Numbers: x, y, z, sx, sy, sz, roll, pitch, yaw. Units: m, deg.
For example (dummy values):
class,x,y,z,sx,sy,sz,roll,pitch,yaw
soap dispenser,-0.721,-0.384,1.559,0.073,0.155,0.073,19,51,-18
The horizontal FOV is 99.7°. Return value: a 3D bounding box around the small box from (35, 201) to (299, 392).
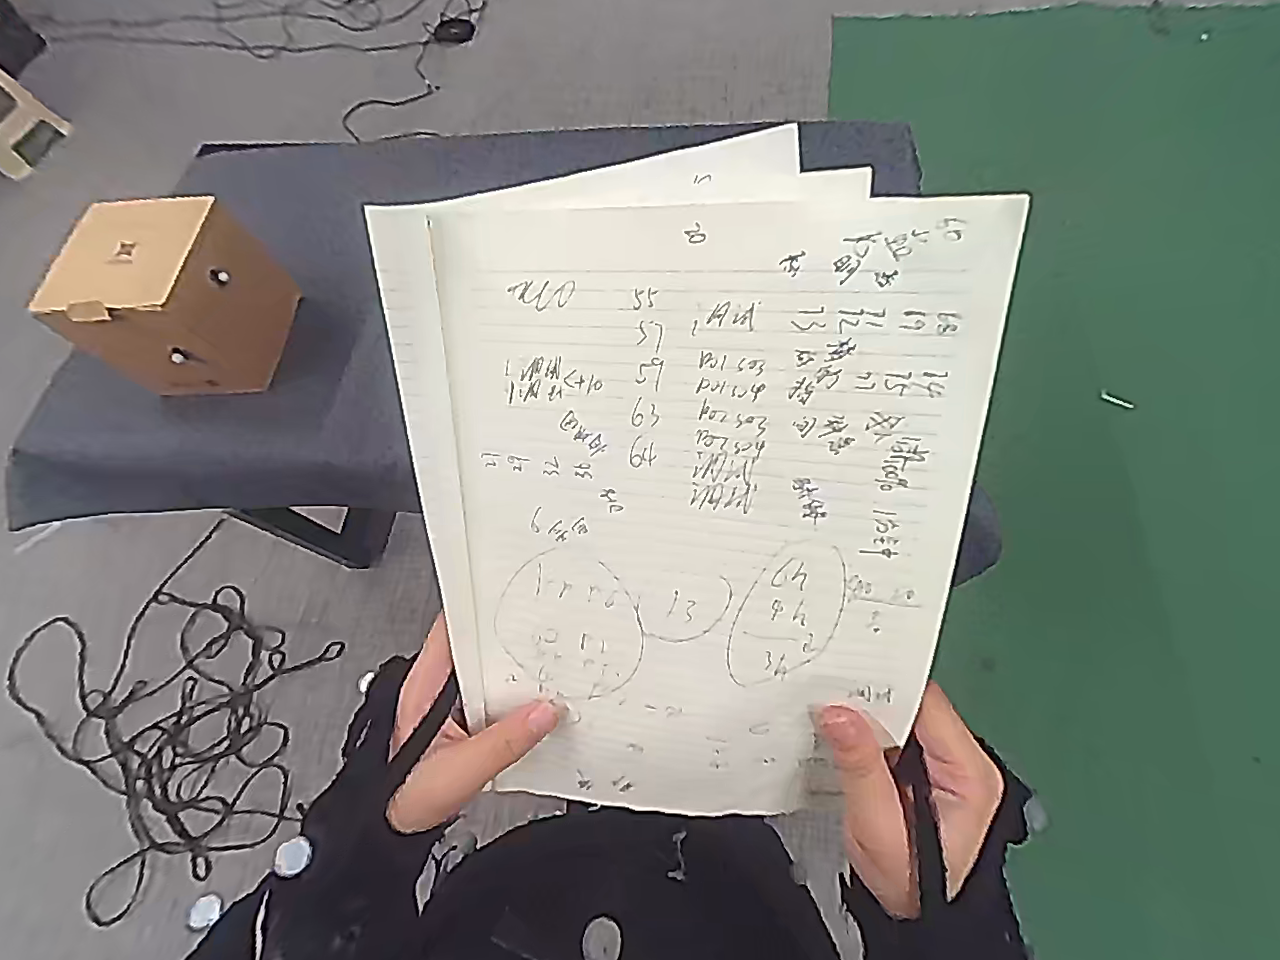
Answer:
class,x,y,z,sx,sy,sz,roll,pitch,yaw
small box,-0.586,-0.227,0.702,0.168,0.176,0.179,-1,64,4
